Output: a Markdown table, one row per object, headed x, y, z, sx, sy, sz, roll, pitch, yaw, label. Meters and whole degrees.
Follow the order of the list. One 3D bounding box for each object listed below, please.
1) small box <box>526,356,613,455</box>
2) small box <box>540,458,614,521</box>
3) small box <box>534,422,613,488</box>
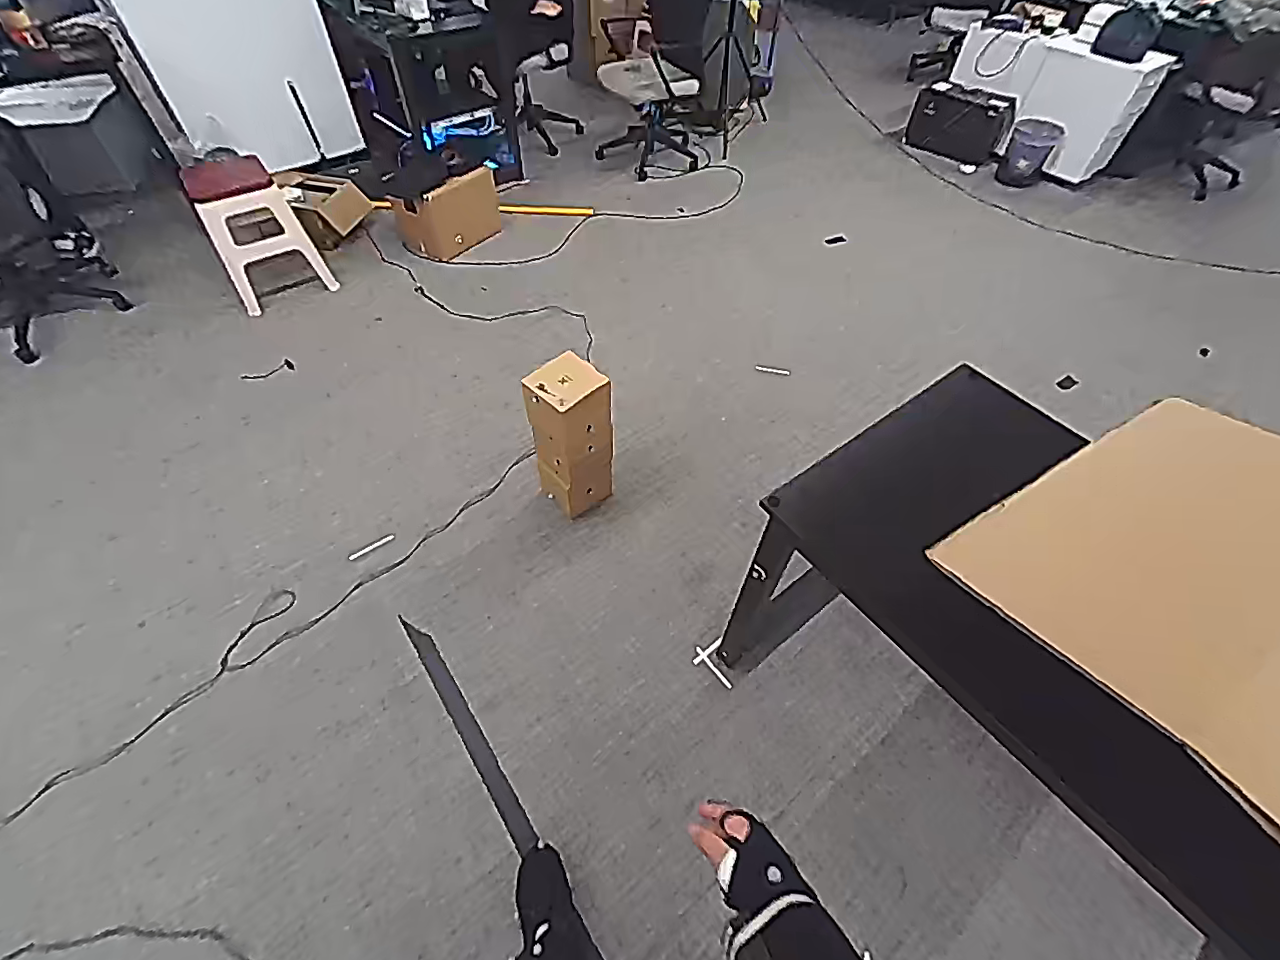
| x | y | z | sx | sy | sz | roll | pitch | yaw | label |
| --- | --- | --- | --- | --- | --- | --- | --- | --- | --- |
| -0.192 | -0.205 | 1.495 | 0.168 | 0.176 | 0.179 | 38 | 60 | 24 | small box |
| -0.201 | -0.004 | 1.753 | 0.179 | 0.176 | 0.168 | -34 | 61 | -24 | small box |
| -0.194 | -0.107 | 1.627 | 0.179 | 0.176 | 0.168 | -37 | 63 | -27 | small box |
